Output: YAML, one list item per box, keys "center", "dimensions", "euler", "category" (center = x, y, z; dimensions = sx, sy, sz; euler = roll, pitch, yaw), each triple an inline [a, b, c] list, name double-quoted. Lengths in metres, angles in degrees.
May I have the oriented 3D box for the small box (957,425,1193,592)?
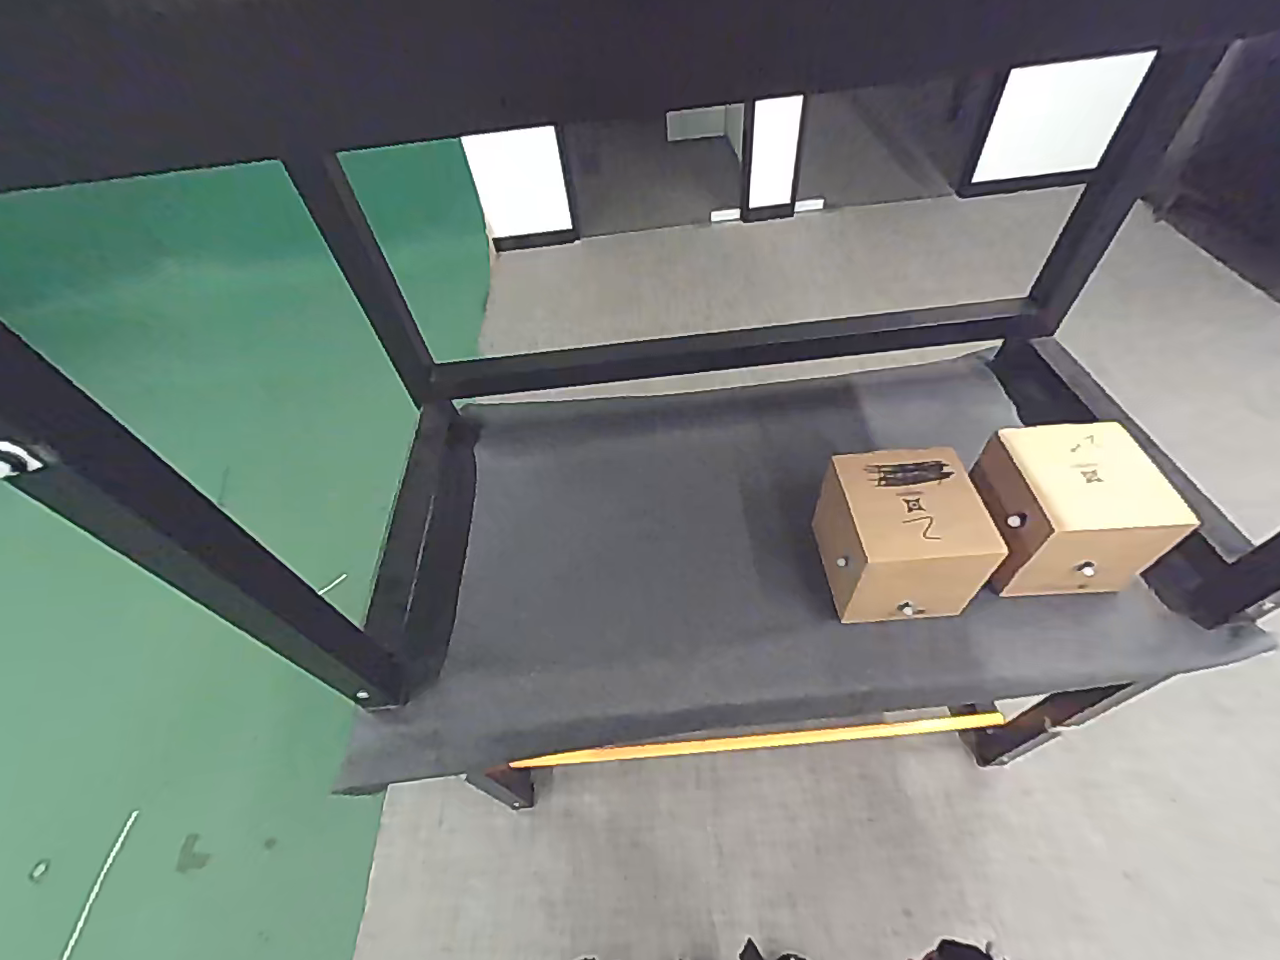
- center: [0.582, 0.047, 0.757]
  dimensions: [0.168, 0.176, 0.179]
  euler: [-3, 50, 4]
  category: "small box"
